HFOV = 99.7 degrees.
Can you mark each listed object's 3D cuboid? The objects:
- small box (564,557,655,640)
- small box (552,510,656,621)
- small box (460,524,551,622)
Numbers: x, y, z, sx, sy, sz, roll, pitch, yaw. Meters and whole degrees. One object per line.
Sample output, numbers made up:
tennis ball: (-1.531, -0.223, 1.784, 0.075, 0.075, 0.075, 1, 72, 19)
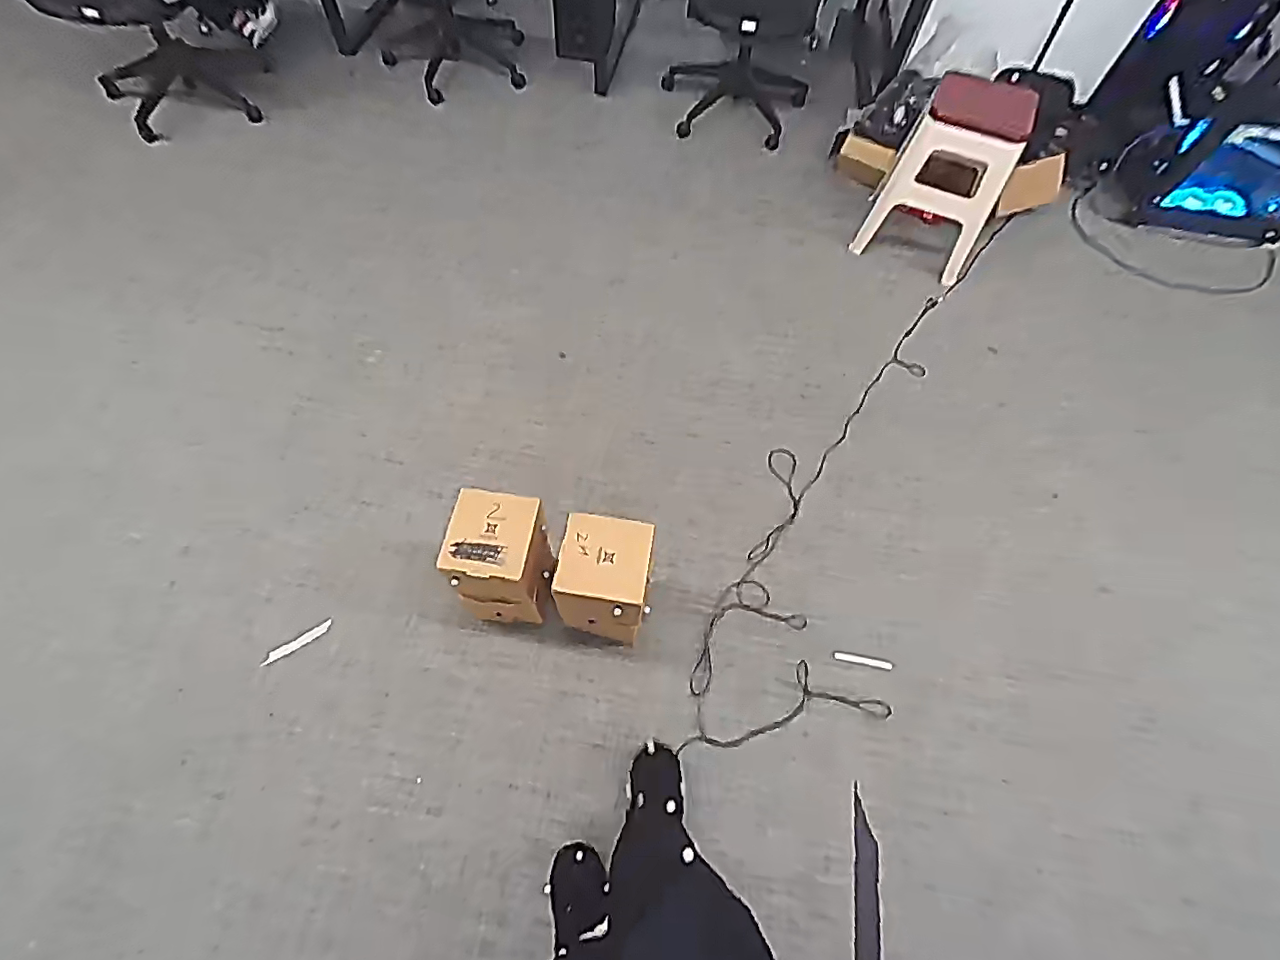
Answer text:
small box: (-0.074, 0.258, 1.251, 0.179, 0.176, 0.168, 15, 62, 5)
small box: (-0.069, 0.181, 1.106, 0.179, 0.176, 0.168, 9, 61, 3)
small box: (-0.304, 0.221, 1.264, 0.168, 0.176, 0.179, 4, 62, -1)
